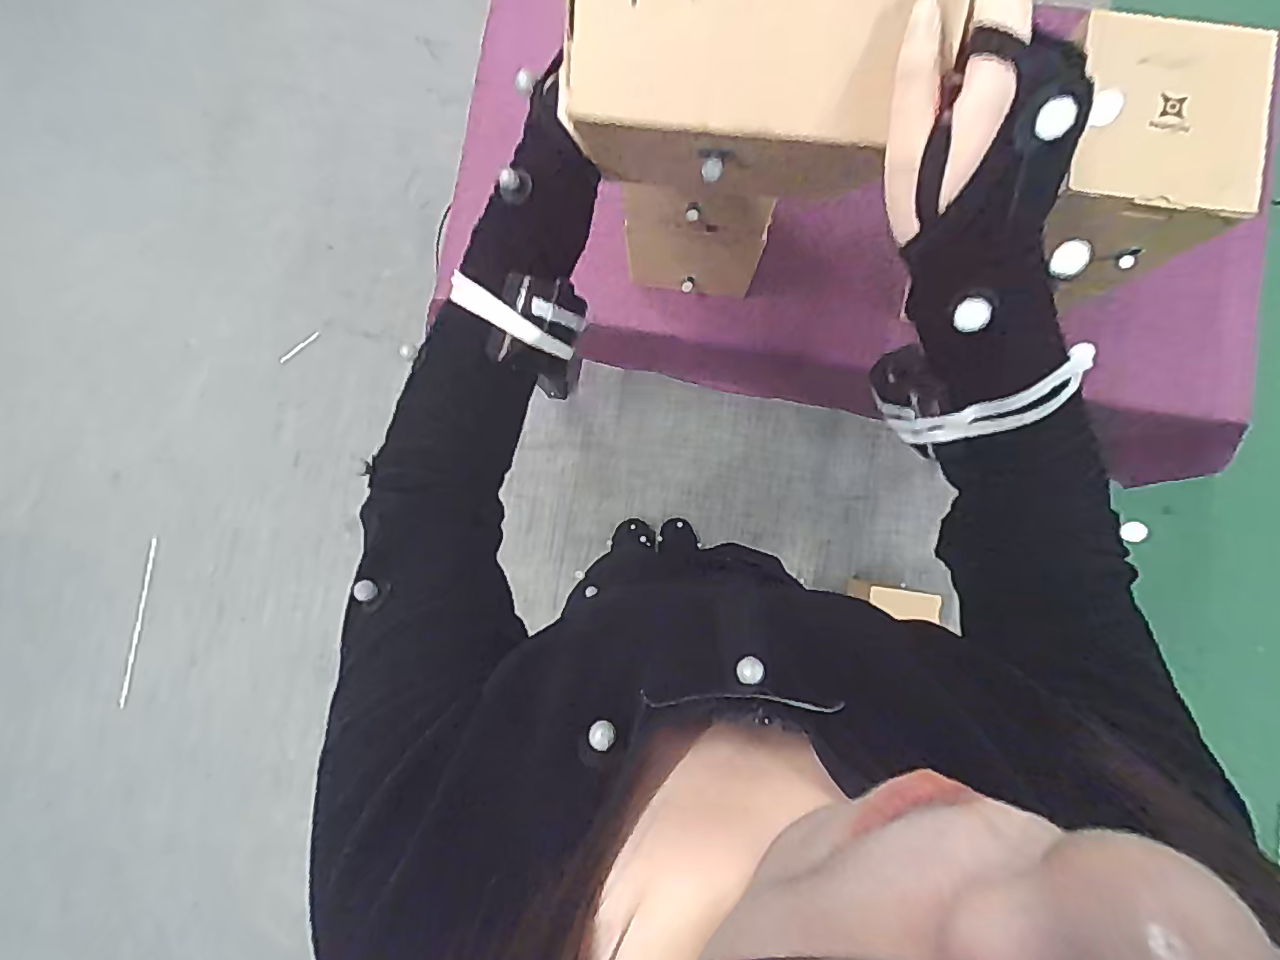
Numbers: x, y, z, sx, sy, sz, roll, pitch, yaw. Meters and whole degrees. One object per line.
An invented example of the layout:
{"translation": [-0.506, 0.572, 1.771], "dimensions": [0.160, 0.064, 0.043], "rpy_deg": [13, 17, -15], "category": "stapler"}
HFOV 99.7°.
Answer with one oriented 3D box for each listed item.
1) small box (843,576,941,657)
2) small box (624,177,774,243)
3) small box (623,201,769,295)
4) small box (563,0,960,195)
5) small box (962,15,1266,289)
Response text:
{"translation": [0.646, 0.348, 1.407], "dimensions": [0.179, 0.176, 0.168], "rpy_deg": [7, 87, 2], "category": "small box"}
{"translation": [0.073, -0.388, 0.581], "dimensions": [0.168, 0.176, 0.179], "rpy_deg": [9, 86, 3], "category": "small box"}
{"translation": [0.077, -0.371, 0.745], "dimensions": [0.179, 0.176, 0.168], "rpy_deg": [8, 86, 2], "category": "small box"}
{"translation": [0.061, -0.270, 0.305], "dimensions": [0.179, 0.176, 0.168], "rpy_deg": [6, 110, 0], "category": "small box"}
{"translation": [0.469, -0.321, 0.564], "dimensions": [0.168, 0.176, 0.179], "rpy_deg": [9, 86, 3], "category": "small box"}
